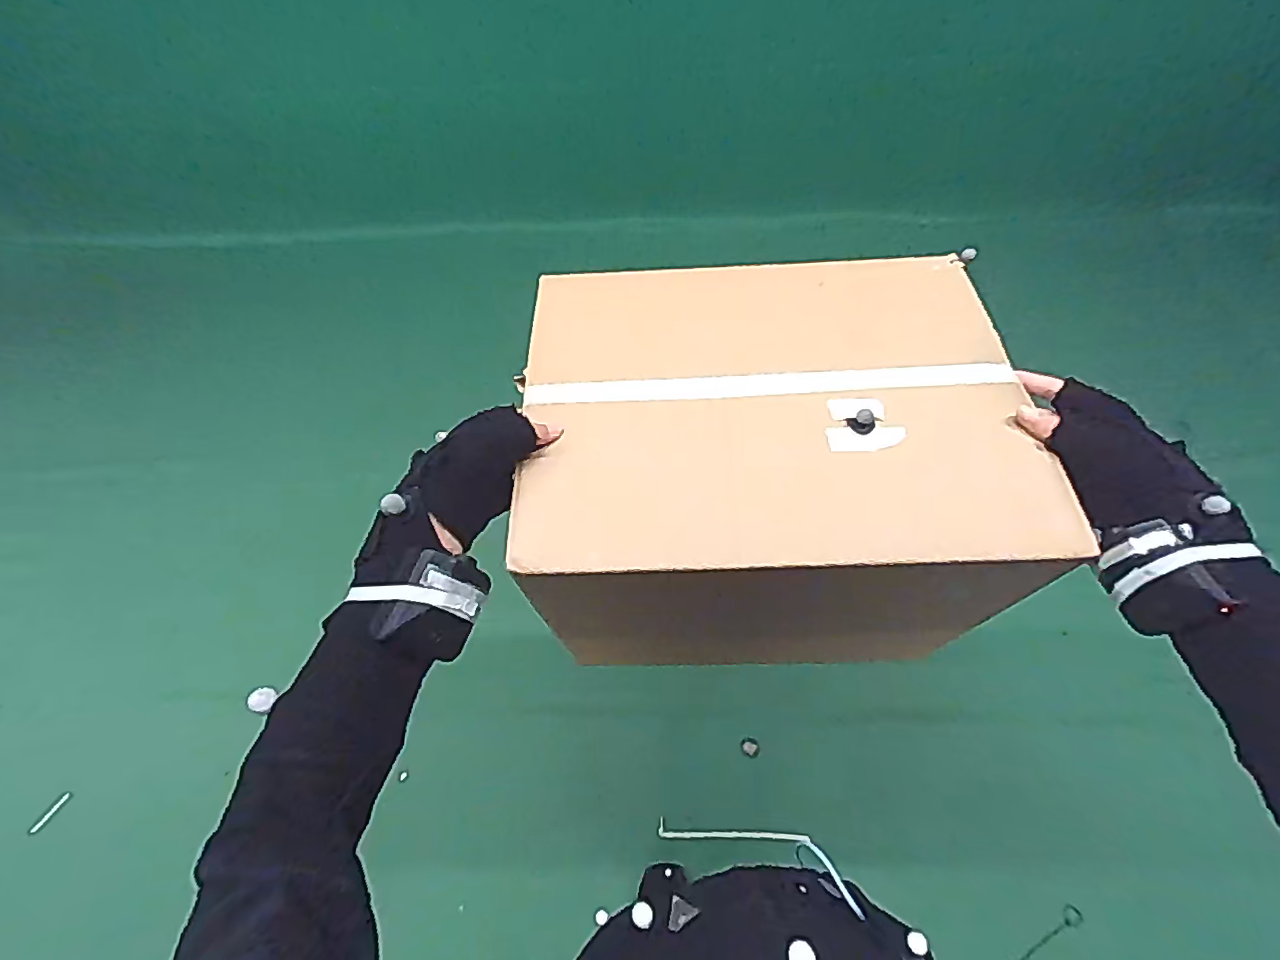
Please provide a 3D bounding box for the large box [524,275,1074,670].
[{"bbox_3d":[0.113,0.009,0.590,0.408,0.320,0.320,-2,59,1],"label":"large box"}]
